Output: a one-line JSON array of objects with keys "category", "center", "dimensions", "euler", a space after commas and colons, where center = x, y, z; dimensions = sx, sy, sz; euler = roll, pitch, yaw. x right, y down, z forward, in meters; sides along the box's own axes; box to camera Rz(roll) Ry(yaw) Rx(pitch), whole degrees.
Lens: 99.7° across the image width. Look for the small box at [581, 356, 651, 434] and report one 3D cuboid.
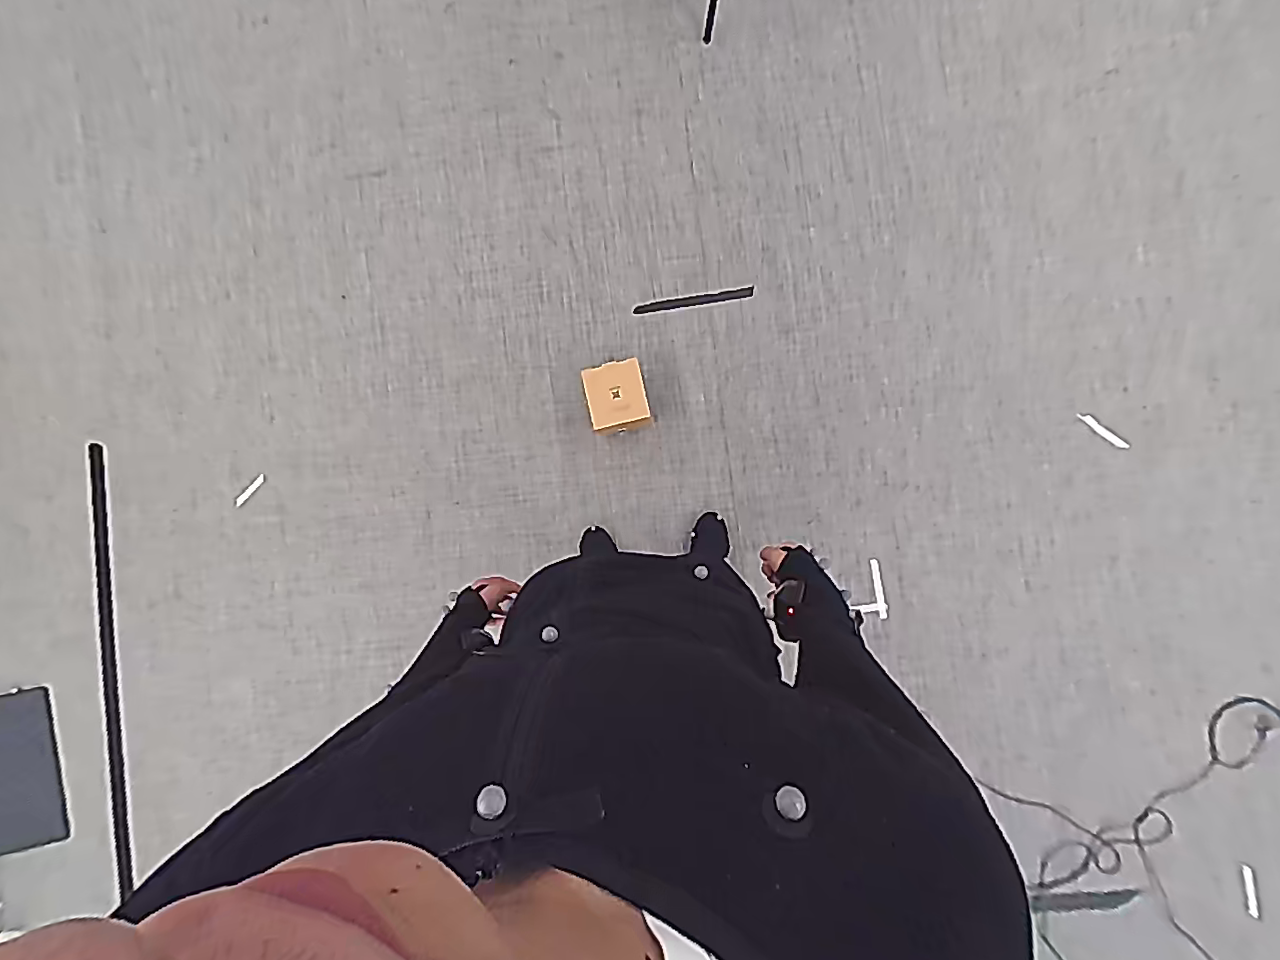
[{"category": "small box", "center": [-0.065, -0.244, 1.587], "dimensions": [0.168, 0.176, 0.179], "euler": [-13, 88, 4]}]
